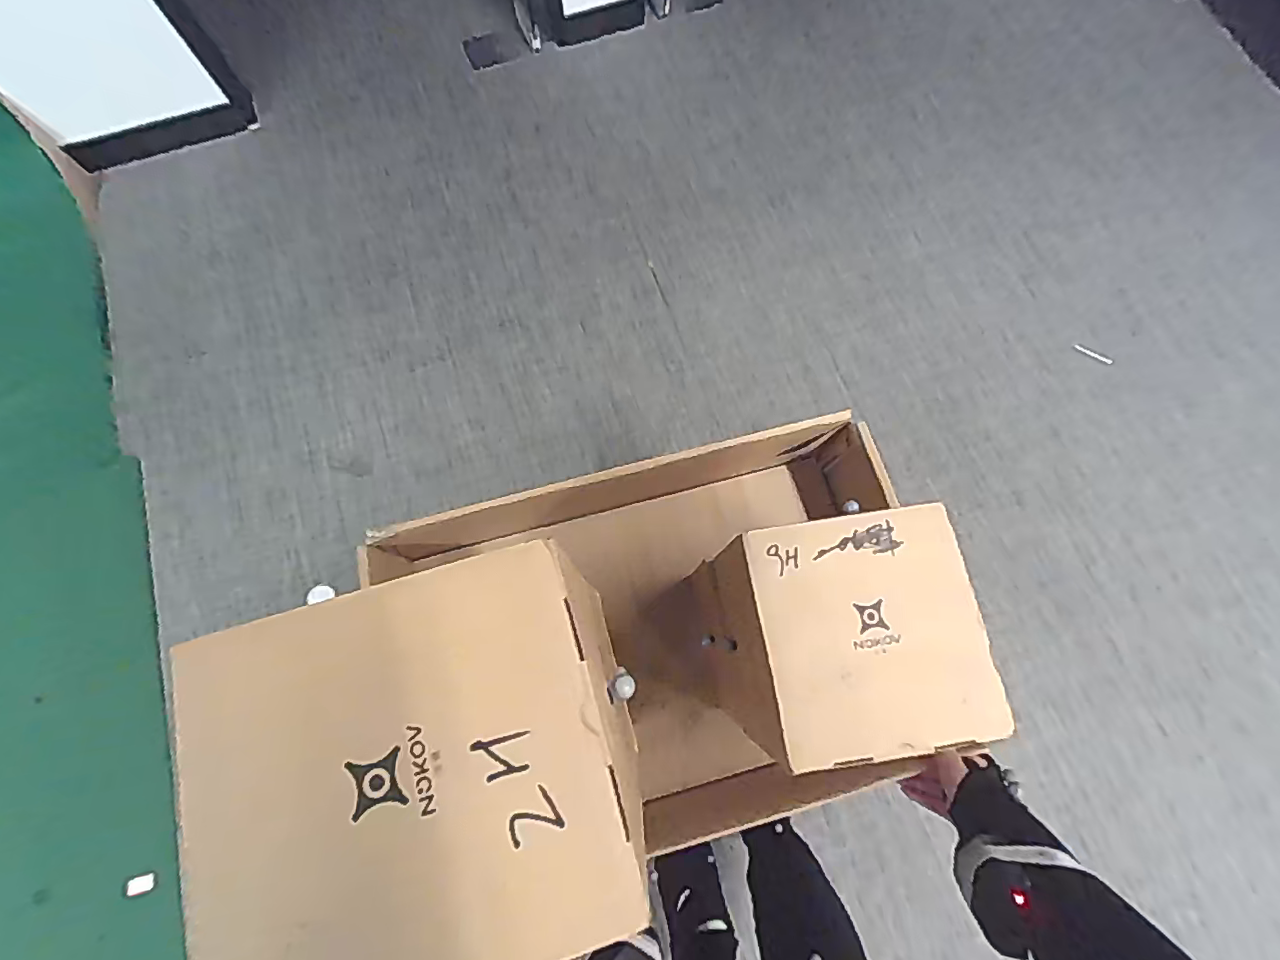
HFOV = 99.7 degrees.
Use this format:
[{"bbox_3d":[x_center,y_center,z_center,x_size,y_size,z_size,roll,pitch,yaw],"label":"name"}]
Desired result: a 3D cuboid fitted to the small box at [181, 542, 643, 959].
[{"bbox_3d":[-0.103,0.148,0.306,0.179,0.176,0.168,-15,76,-6],"label":"small box"}]
